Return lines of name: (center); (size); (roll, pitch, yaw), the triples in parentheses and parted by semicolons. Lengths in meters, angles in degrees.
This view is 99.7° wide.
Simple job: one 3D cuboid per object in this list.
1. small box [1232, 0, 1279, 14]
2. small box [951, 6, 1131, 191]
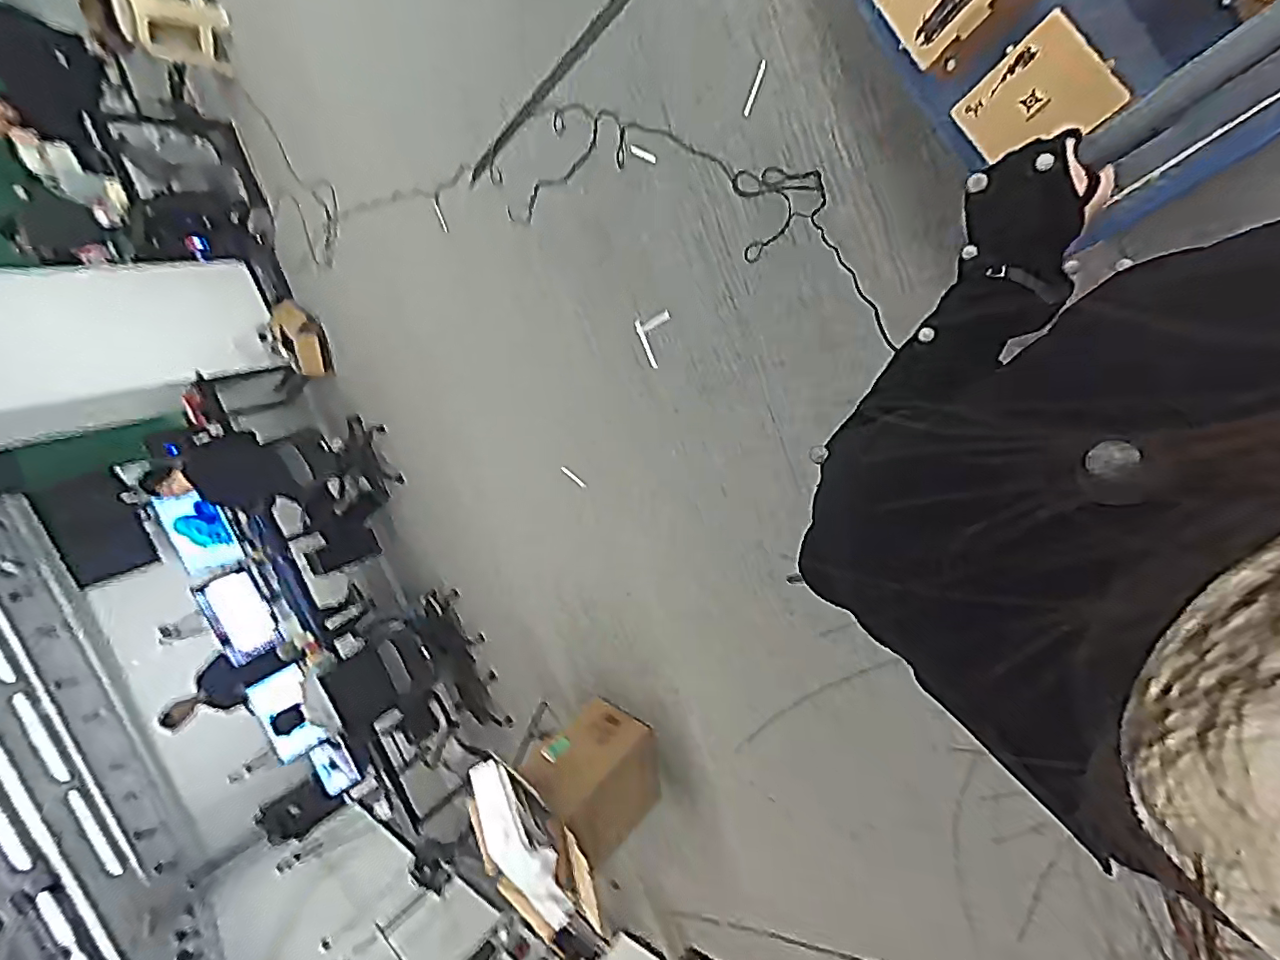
small box: (0.815, -0.718, 0.655); (0.168, 0.176, 0.179); (-33, 86, 47)
small box: (0.648, -0.599, 0.871); (0.179, 0.176, 0.168); (57, 136, 5)
